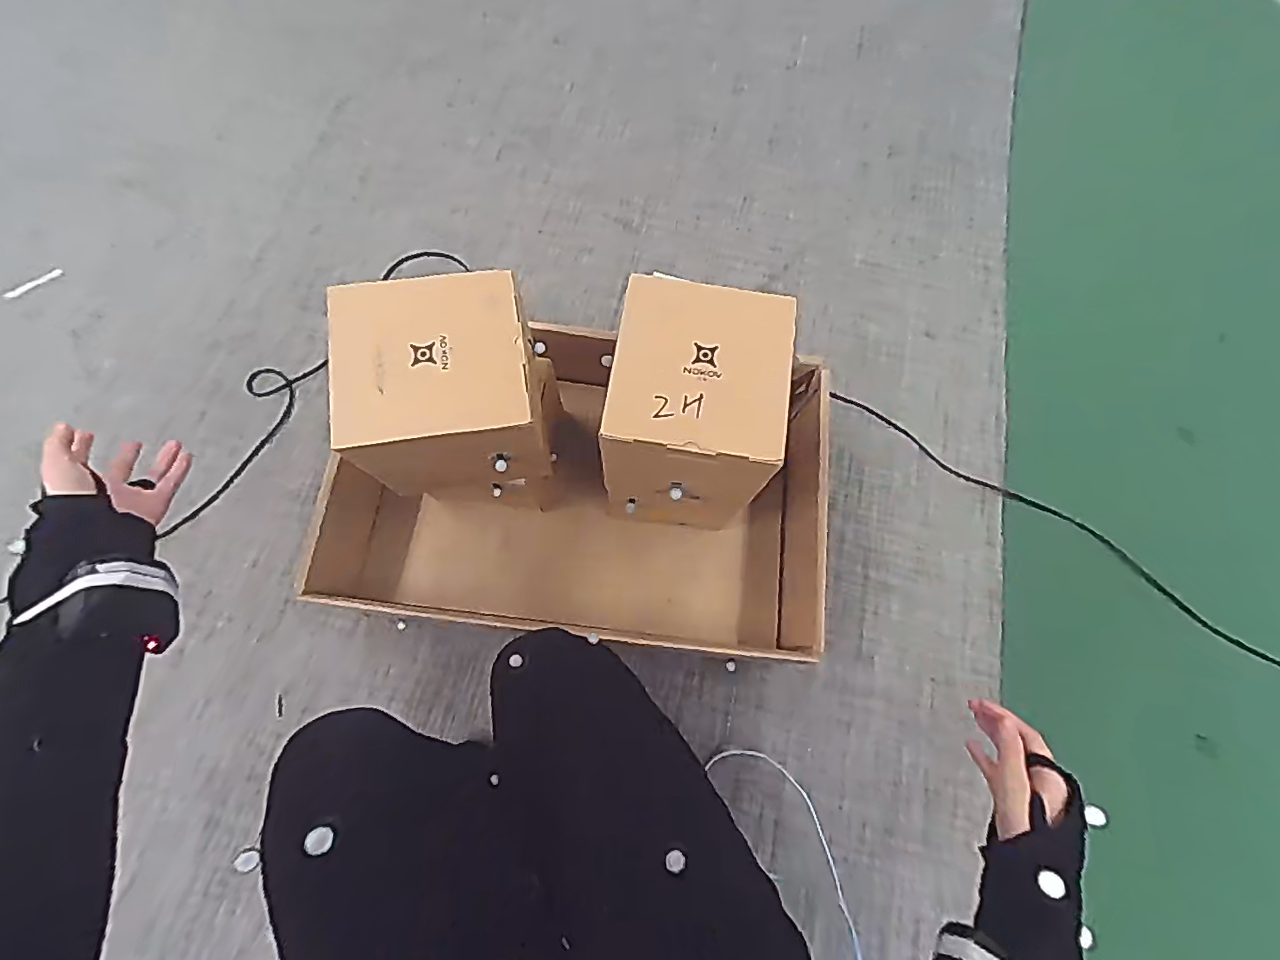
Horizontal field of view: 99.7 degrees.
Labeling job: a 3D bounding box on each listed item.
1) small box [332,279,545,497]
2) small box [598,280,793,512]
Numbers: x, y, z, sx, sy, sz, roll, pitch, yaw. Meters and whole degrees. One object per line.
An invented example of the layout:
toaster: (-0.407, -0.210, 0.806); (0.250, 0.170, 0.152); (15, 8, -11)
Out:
small box: (-0.199, -0.087, 0.576); (0.179, 0.176, 0.168); (-8, 75, -5)
small box: (0.053, -0.078, 0.578); (0.168, 0.176, 0.179); (9, 73, 1)
